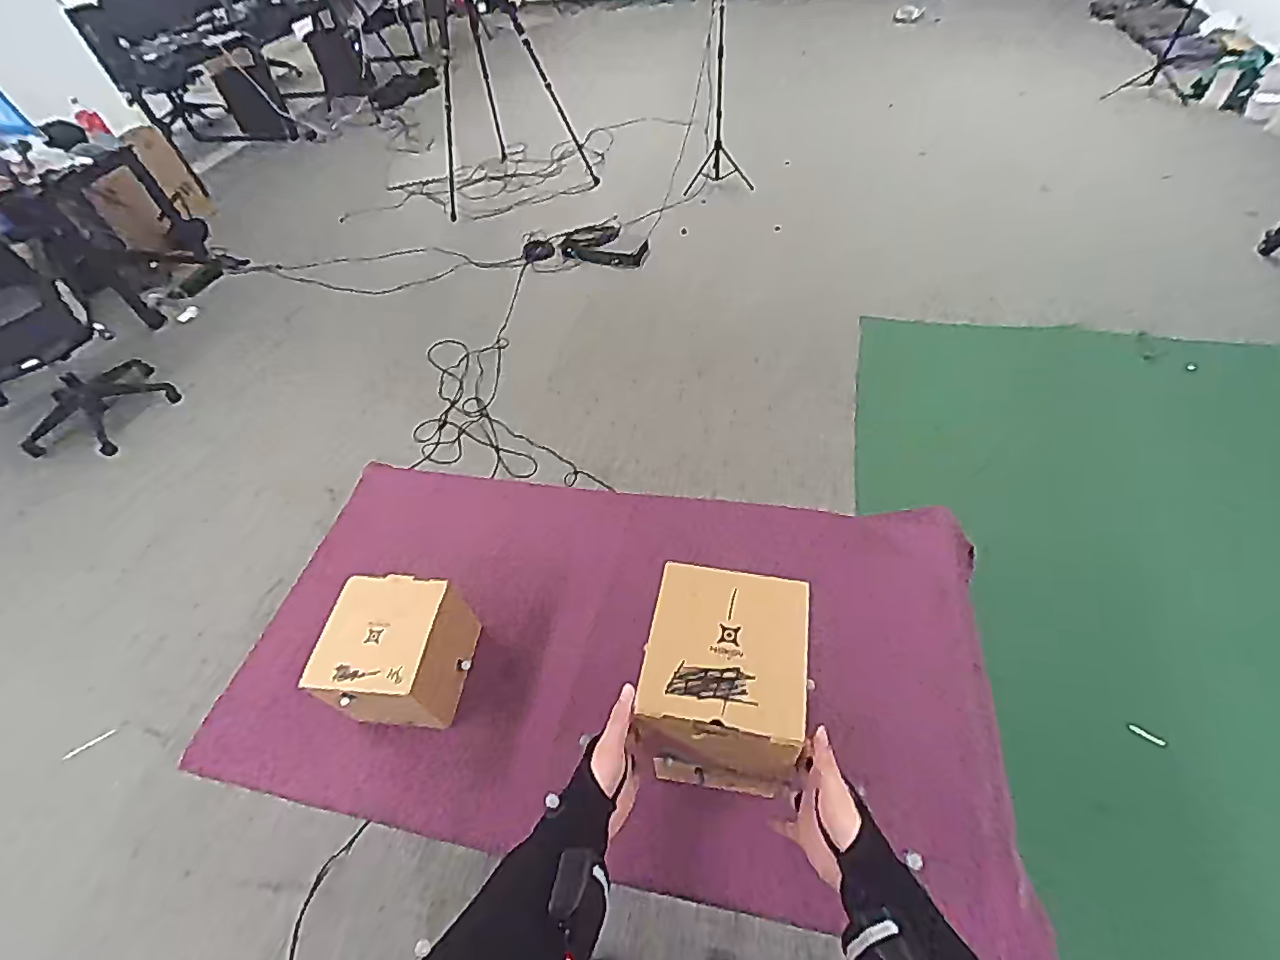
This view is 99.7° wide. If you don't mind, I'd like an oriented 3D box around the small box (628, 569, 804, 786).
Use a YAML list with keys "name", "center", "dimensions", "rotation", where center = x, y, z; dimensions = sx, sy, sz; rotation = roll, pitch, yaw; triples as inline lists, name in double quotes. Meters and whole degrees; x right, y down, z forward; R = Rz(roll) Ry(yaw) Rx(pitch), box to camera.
- name: "small box"
  center: [0.093, 0.230, 0.628]
  dimensions: [0.168, 0.176, 0.179]
  rotation: [7, 50, 12]

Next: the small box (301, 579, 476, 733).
- name: "small box"
  center: [-0.377, 0.278, 0.853]
  dimensions: [0.168, 0.176, 0.179]
  rotation: [1, 51, 8]

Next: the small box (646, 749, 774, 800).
- name: "small box"
  center: [0.109, 0.329, 0.759]
  dimensions: [0.168, 0.176, 0.179]
  rotation: [4, 50, 10]
